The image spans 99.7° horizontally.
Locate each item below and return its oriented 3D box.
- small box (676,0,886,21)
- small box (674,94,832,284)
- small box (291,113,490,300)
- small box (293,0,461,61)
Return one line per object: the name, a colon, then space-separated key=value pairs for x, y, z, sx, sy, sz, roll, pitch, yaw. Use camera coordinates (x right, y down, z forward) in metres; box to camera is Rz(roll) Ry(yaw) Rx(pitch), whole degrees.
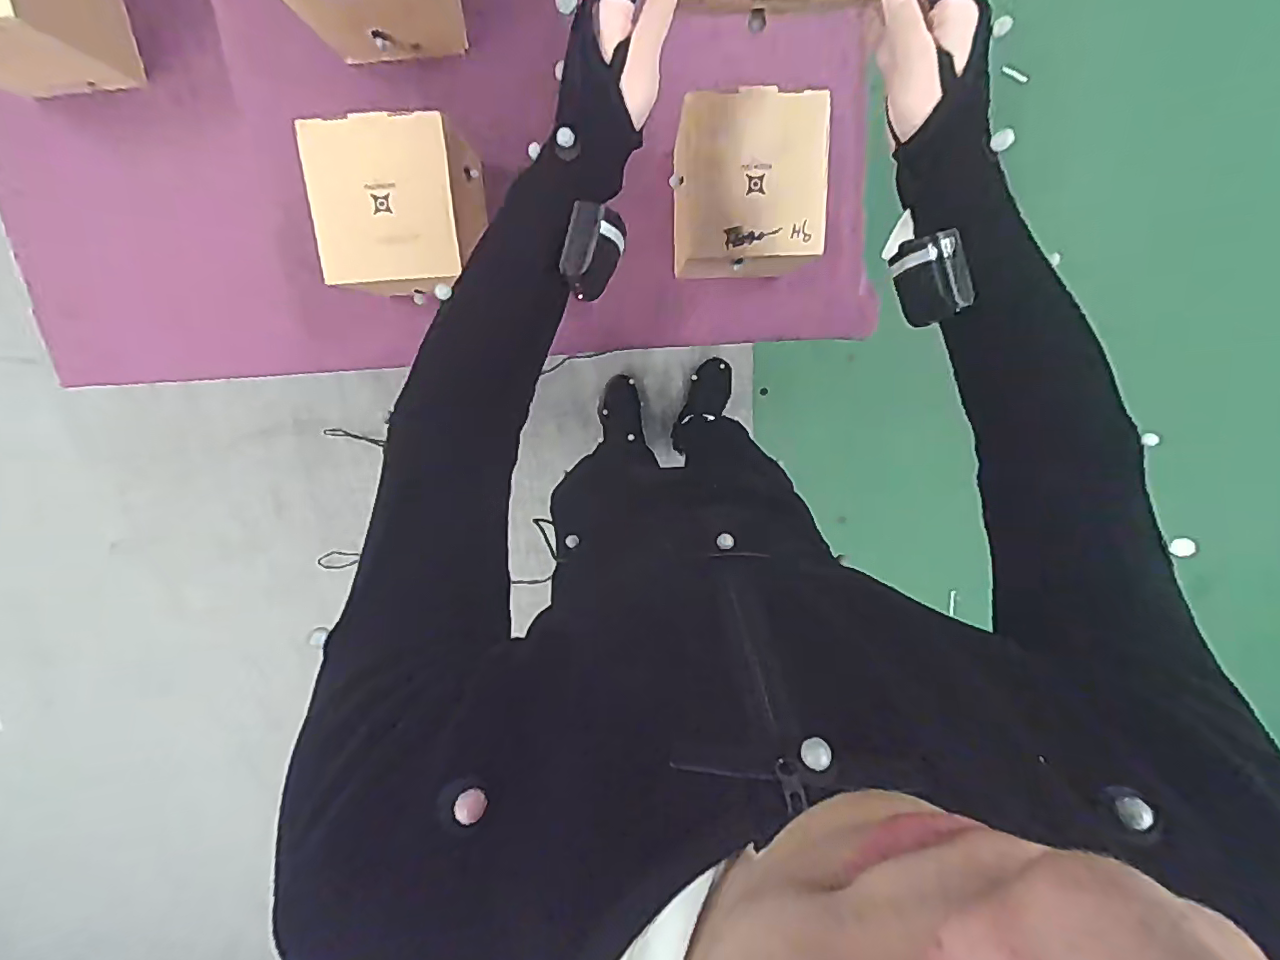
small box: x=0.109 y=-0.463 z=0.399 sx=0.168 sy=0.176 sz=0.179 roll=2 pitch=126 yaw=1
small box: x=0.132 y=-0.357 z=0.693 sx=0.168 sy=0.176 sz=0.179 roll=-1 pitch=102 yaw=-1
small box: x=-0.297 y=-0.331 z=0.684 sx=0.168 sy=0.176 sz=0.179 roll=-3 pitch=104 yaw=-1
small box: x=-0.316 y=-0.618 z=0.611 sx=0.168 sy=0.176 sz=0.179 roll=-6 pitch=105 yaw=-2
